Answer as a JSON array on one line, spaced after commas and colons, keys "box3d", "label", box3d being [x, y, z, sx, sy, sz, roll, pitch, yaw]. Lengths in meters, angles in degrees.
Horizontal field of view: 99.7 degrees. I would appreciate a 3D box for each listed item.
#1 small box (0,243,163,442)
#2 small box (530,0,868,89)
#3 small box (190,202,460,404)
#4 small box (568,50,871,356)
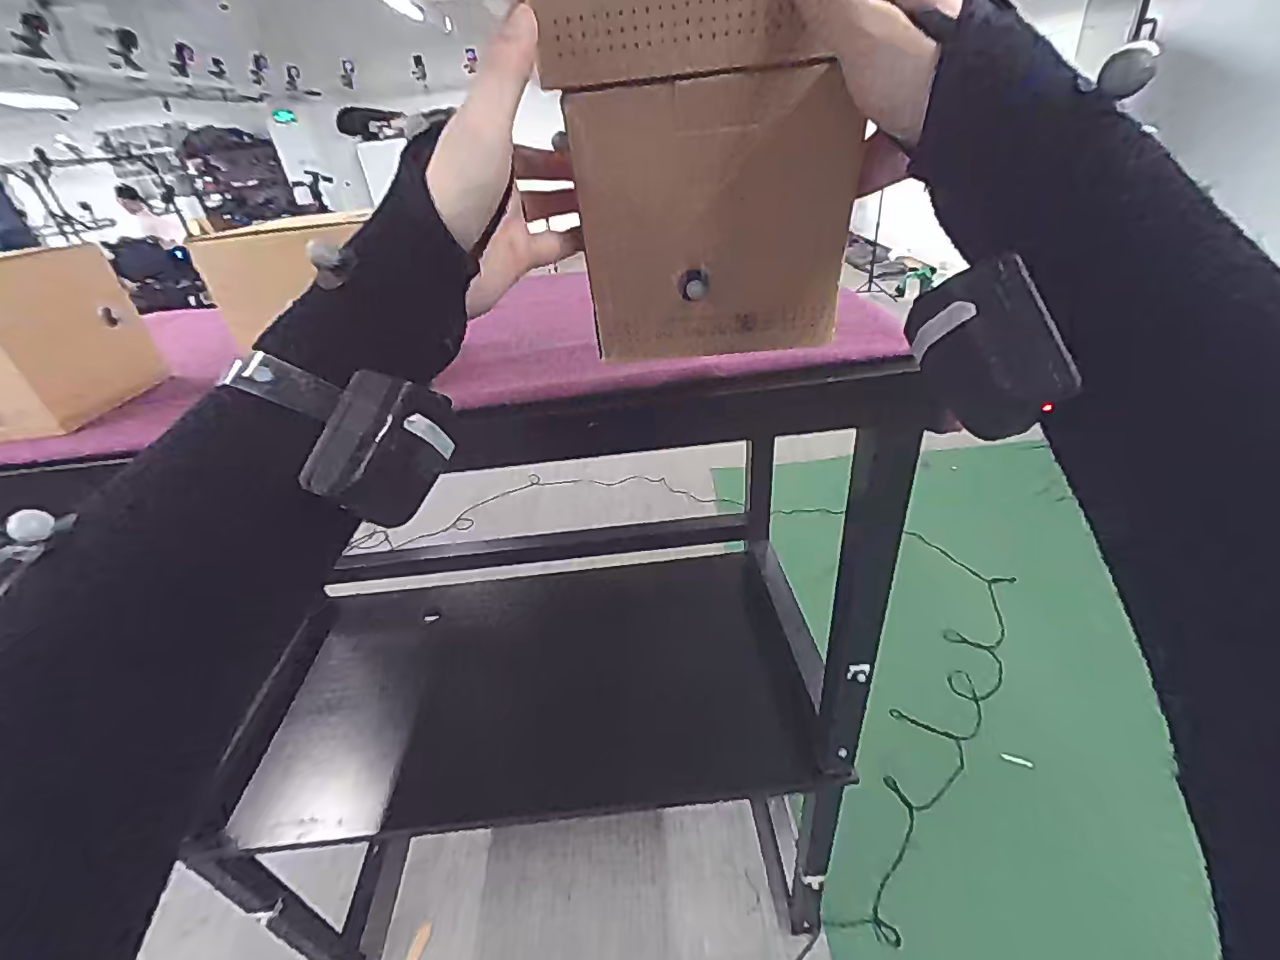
[{"box3d": [-0.687, -0.151, 0.594, 0.168, 0.176, 0.179, -8, 32, -1], "label": "small box"}, {"box3d": [0.026, -0.325, 0.286, 0.179, 0.176, 0.168, -4, 44, 3], "label": "small box"}, {"box3d": [-0.321, -0.198, 0.602, 0.179, 0.176, 0.168, -6, 31, 3], "label": "small box"}, {"box3d": [0.047, -0.212, 0.404, 0.168, 0.176, 0.179, -4, 44, 3], "label": "small box"}]
